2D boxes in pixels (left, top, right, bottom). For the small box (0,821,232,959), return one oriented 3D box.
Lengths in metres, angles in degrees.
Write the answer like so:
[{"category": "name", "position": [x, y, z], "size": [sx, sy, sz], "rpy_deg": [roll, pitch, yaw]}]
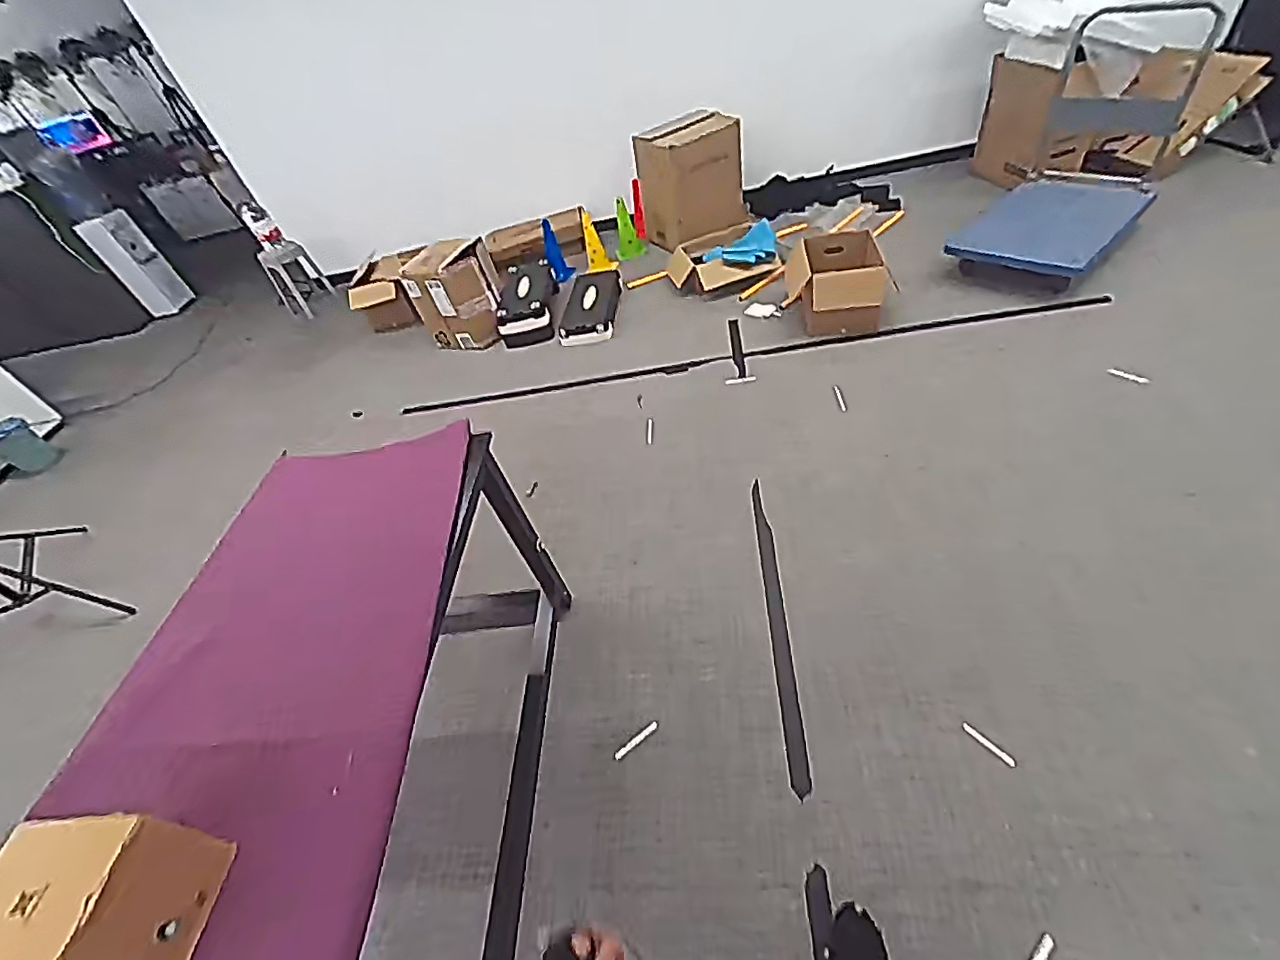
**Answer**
[{"category": "small box", "position": [-0.660, 0.530, 0.650], "size": [0.179, 0.176, 0.168], "rpy_deg": [-8, 44, 7]}]
